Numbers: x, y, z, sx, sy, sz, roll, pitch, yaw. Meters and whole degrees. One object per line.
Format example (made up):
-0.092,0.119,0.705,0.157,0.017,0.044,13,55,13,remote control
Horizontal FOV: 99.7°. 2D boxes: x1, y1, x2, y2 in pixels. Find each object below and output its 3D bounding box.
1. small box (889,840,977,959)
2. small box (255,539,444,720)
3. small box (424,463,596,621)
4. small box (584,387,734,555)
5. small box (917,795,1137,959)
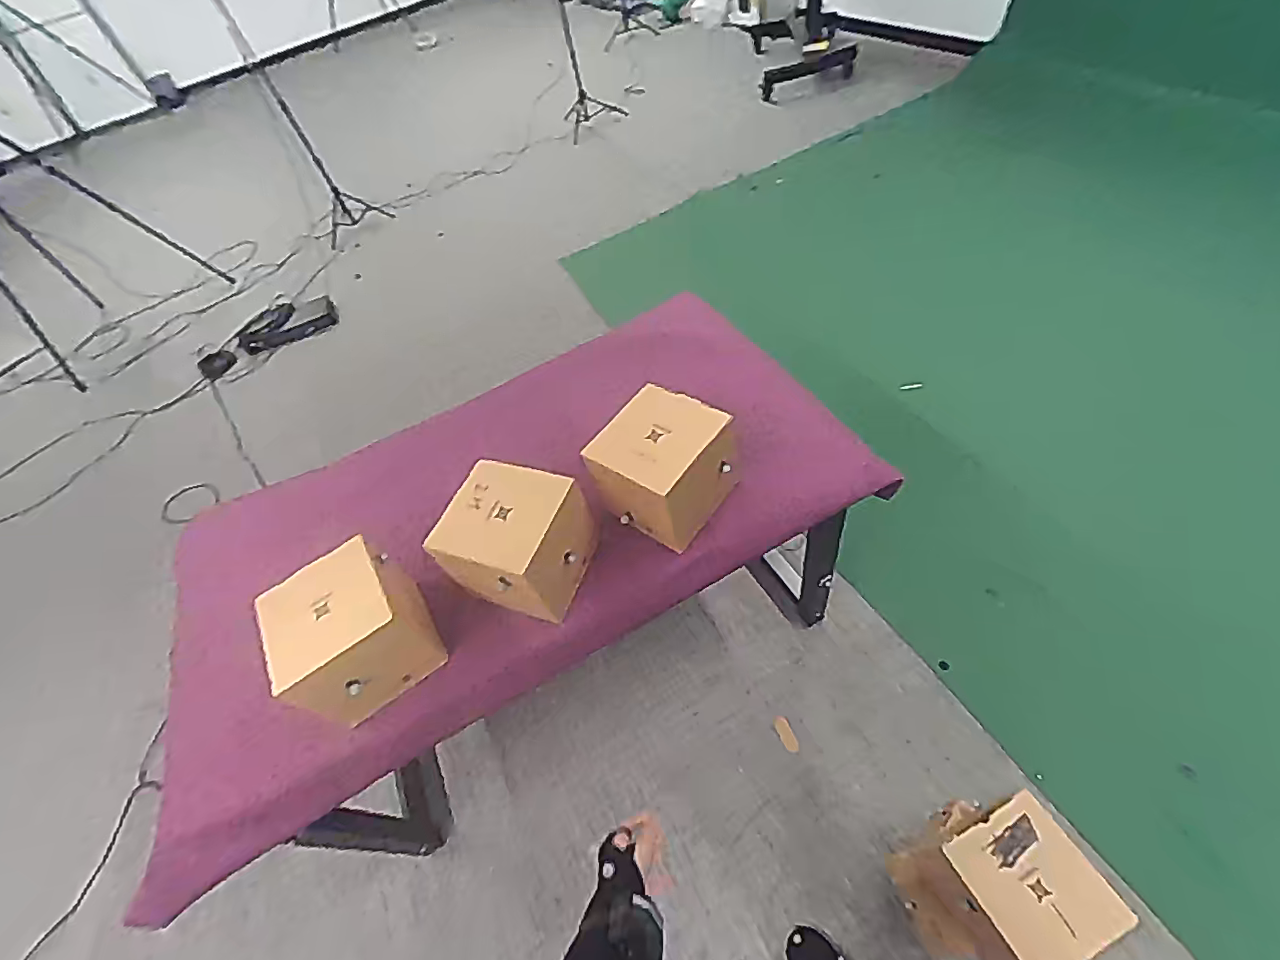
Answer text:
0.611,0.809,1.056,0.179,0.176,0.168,-20,52,-3,small box
-0.420,0.228,0.799,0.168,0.176,0.179,-34,52,-14,small box
-0.187,0.100,0.843,0.179,0.176,0.168,12,56,21,small box
0.040,-0.013,0.881,0.168,0.176,0.179,28,64,30,small box
0.550,0.607,0.803,0.168,0.176,0.179,-26,53,-9,small box
